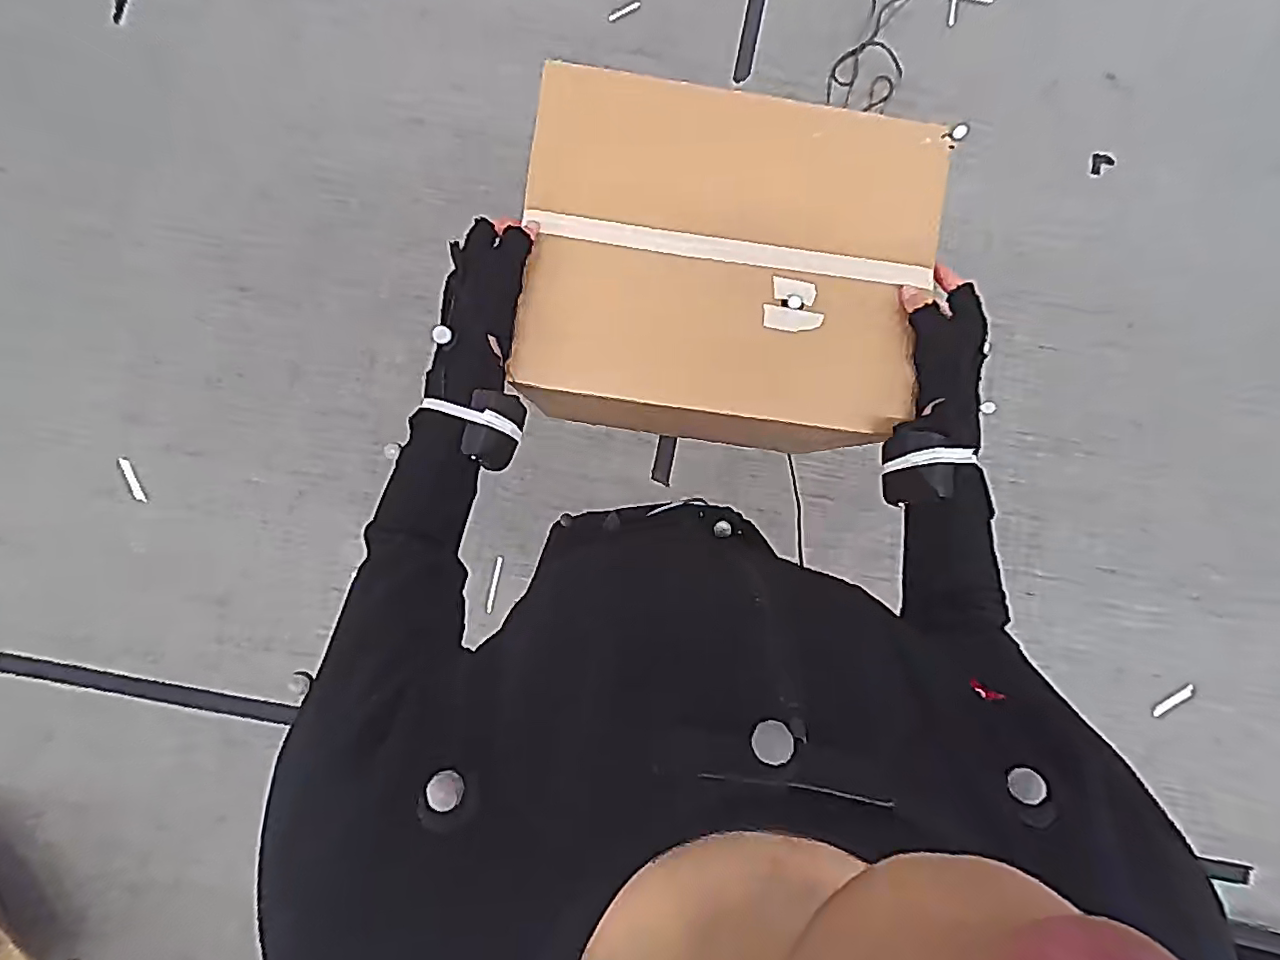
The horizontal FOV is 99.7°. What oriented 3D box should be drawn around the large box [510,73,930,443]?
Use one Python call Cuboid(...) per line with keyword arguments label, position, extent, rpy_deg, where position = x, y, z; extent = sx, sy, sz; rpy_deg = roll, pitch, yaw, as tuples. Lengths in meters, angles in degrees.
Cuboid(label="large box", position=(0.075, -0.230, 0.692), extent=(0.408, 0.320, 0.320), rpy_deg=(8, 91, -3))
